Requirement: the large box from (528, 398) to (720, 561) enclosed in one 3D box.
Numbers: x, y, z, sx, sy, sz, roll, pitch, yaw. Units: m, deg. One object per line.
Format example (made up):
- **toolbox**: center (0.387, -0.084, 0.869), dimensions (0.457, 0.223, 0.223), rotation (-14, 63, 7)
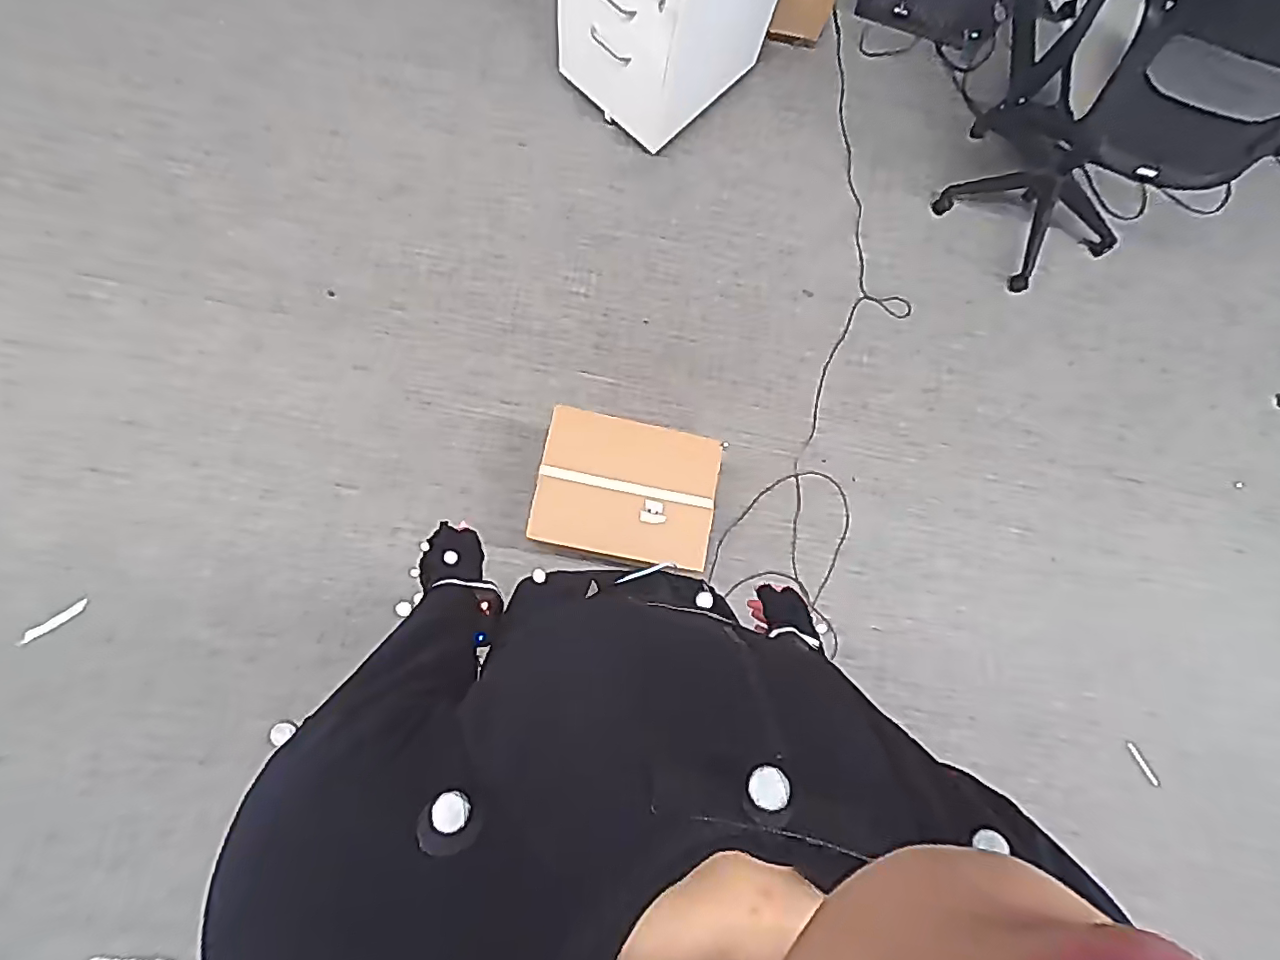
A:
- **large box**: center (-0.052, 0.020, 1.378), dimensions (0.408, 0.320, 0.320), rotation (12, 80, -6)
